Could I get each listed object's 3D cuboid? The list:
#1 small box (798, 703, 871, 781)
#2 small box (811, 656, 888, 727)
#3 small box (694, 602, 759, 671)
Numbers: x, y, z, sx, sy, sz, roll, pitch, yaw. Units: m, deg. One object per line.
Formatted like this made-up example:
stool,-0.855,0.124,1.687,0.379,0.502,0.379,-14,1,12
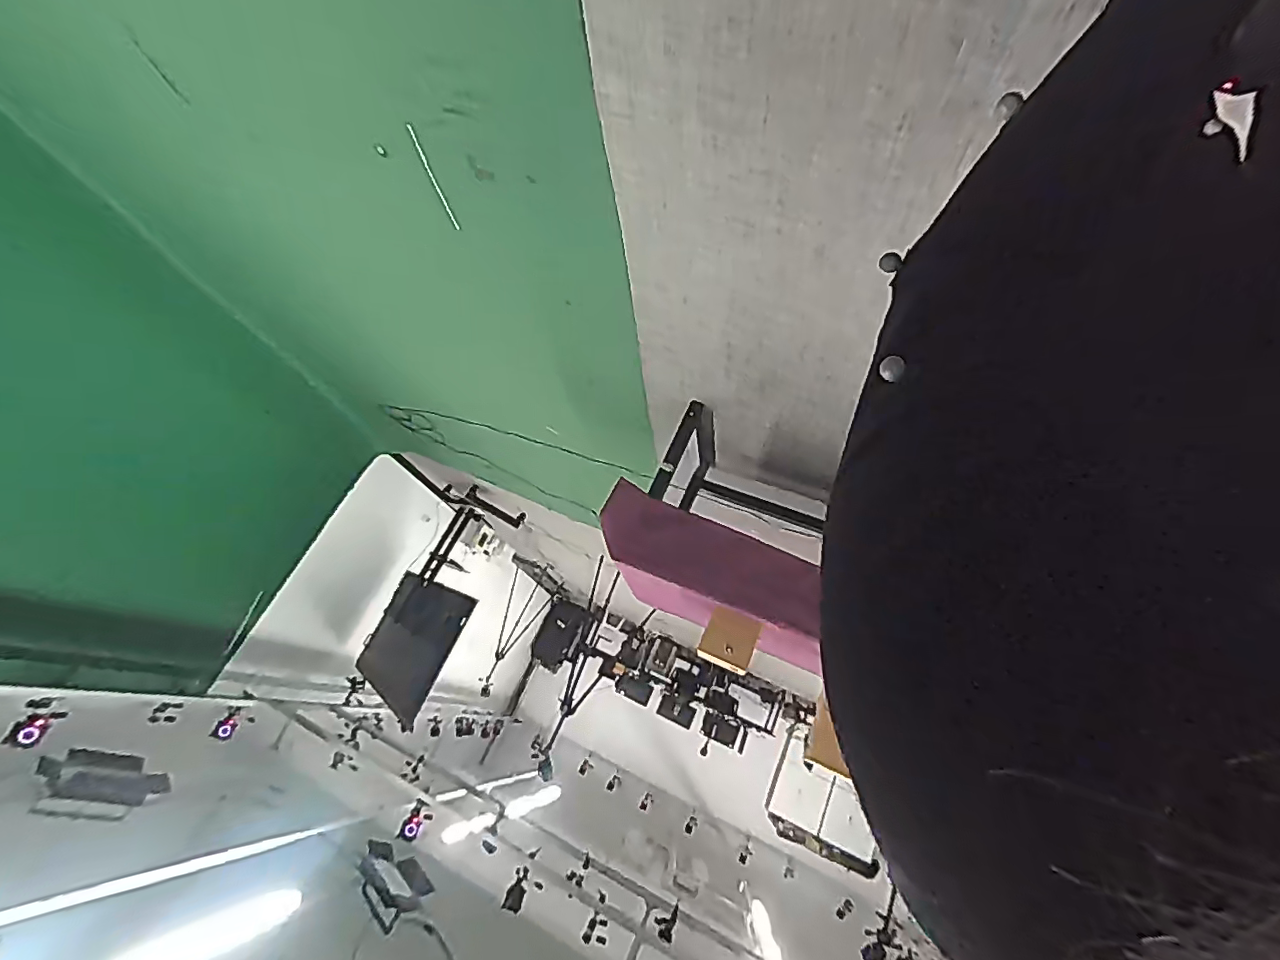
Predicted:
small box,0.619,0.830,1.723,0.168,0.176,0.179,20,158,18
small box,0.685,0.689,1.774,0.179,0.176,0.168,20,160,18
small box,0.303,0.546,1.890,0.179,0.176,0.168,21,159,16
